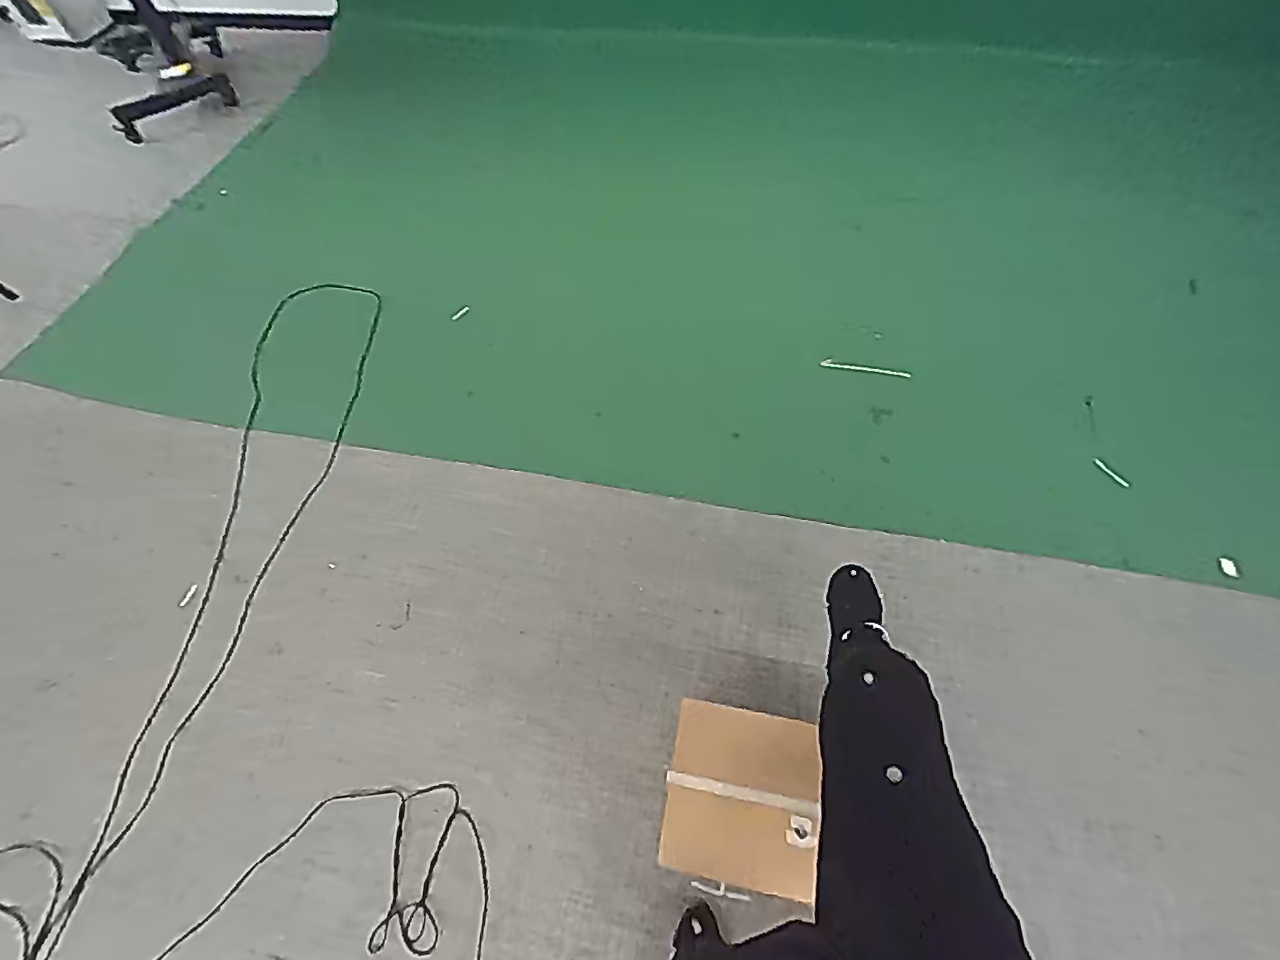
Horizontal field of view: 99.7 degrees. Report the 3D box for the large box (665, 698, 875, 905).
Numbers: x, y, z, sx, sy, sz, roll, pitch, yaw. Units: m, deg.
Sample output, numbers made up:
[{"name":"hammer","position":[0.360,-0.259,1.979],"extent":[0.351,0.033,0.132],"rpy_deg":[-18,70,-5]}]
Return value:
[{"name":"large box","position":[0.272,0.714,1.228],"extent":[0.408,0.320,0.320],"rpy_deg":[8,60,7]}]
